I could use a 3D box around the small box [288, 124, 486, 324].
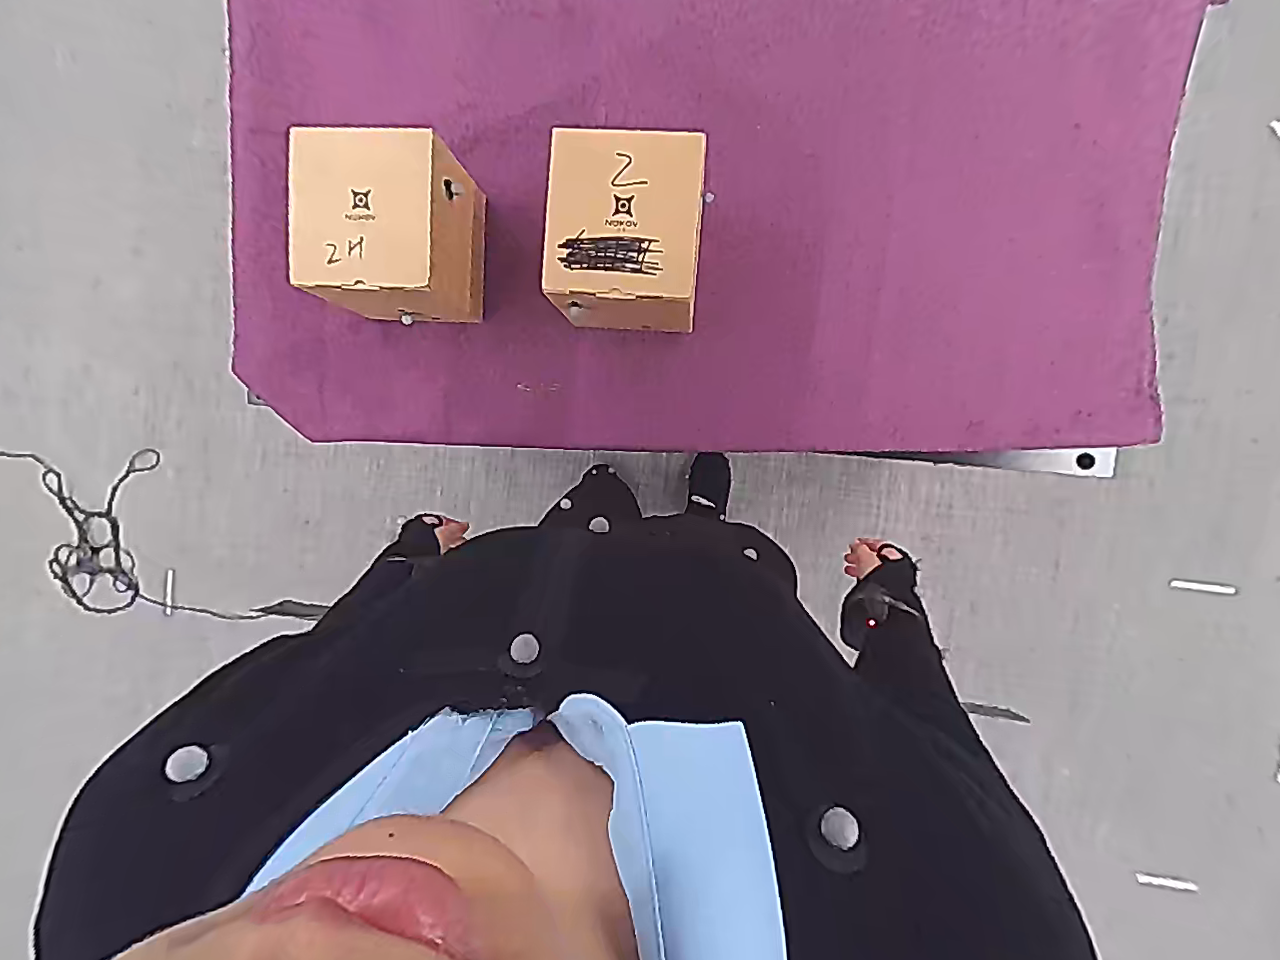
[{"bbox_3d":[-0.300,-0.304,0.672,0.168,0.176,0.179,3,94,4],"label":"small box"}]
